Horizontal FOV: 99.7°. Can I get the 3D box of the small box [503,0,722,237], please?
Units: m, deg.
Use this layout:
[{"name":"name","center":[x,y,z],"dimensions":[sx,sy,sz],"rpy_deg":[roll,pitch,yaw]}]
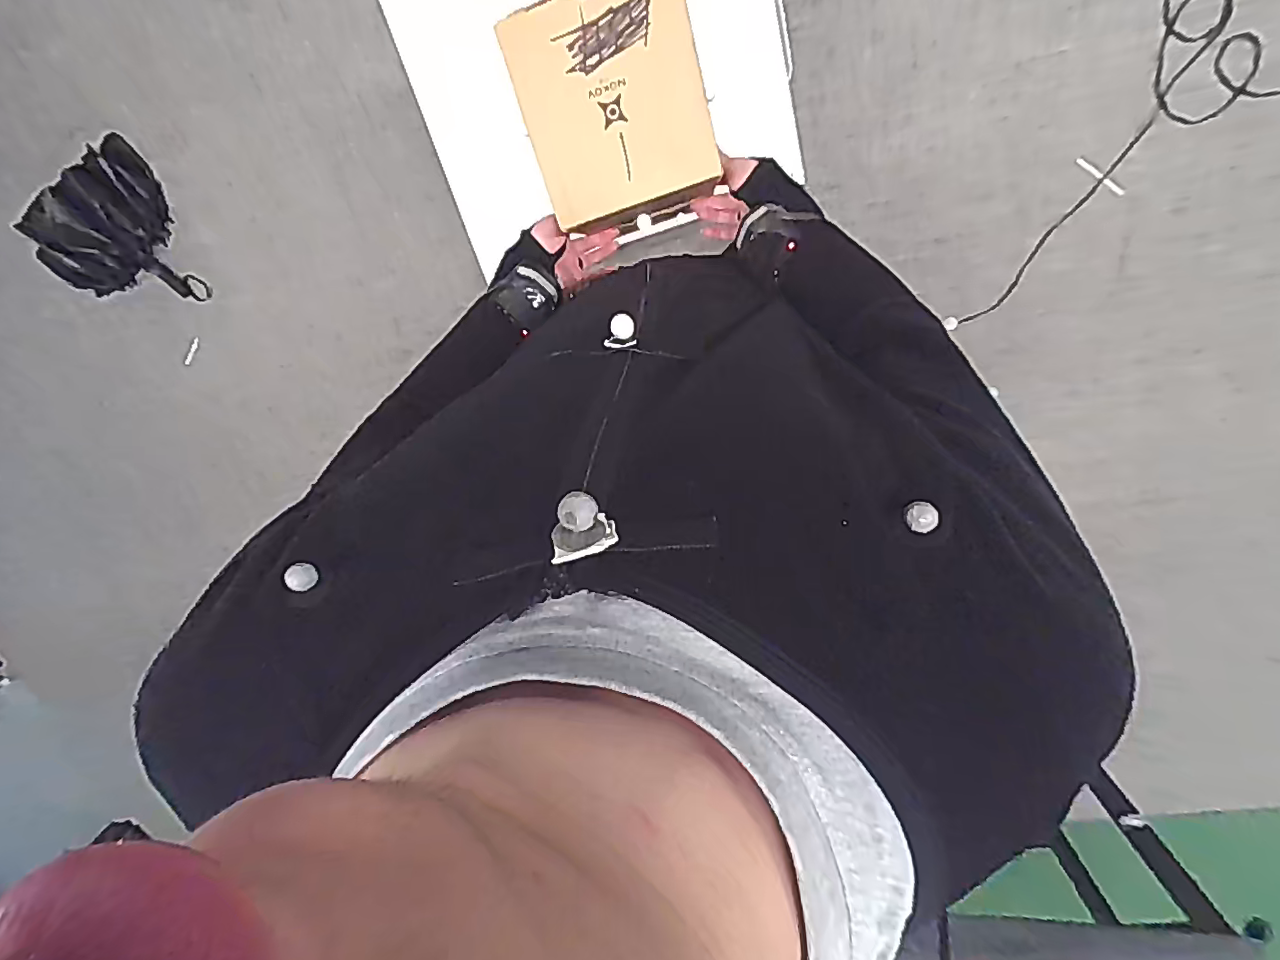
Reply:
[{"name":"small box","center":[-0.017,-0.369,0.566],"dimensions":[0.168,0.176,0.179],"rpy_deg":[-13,111,10]}]
